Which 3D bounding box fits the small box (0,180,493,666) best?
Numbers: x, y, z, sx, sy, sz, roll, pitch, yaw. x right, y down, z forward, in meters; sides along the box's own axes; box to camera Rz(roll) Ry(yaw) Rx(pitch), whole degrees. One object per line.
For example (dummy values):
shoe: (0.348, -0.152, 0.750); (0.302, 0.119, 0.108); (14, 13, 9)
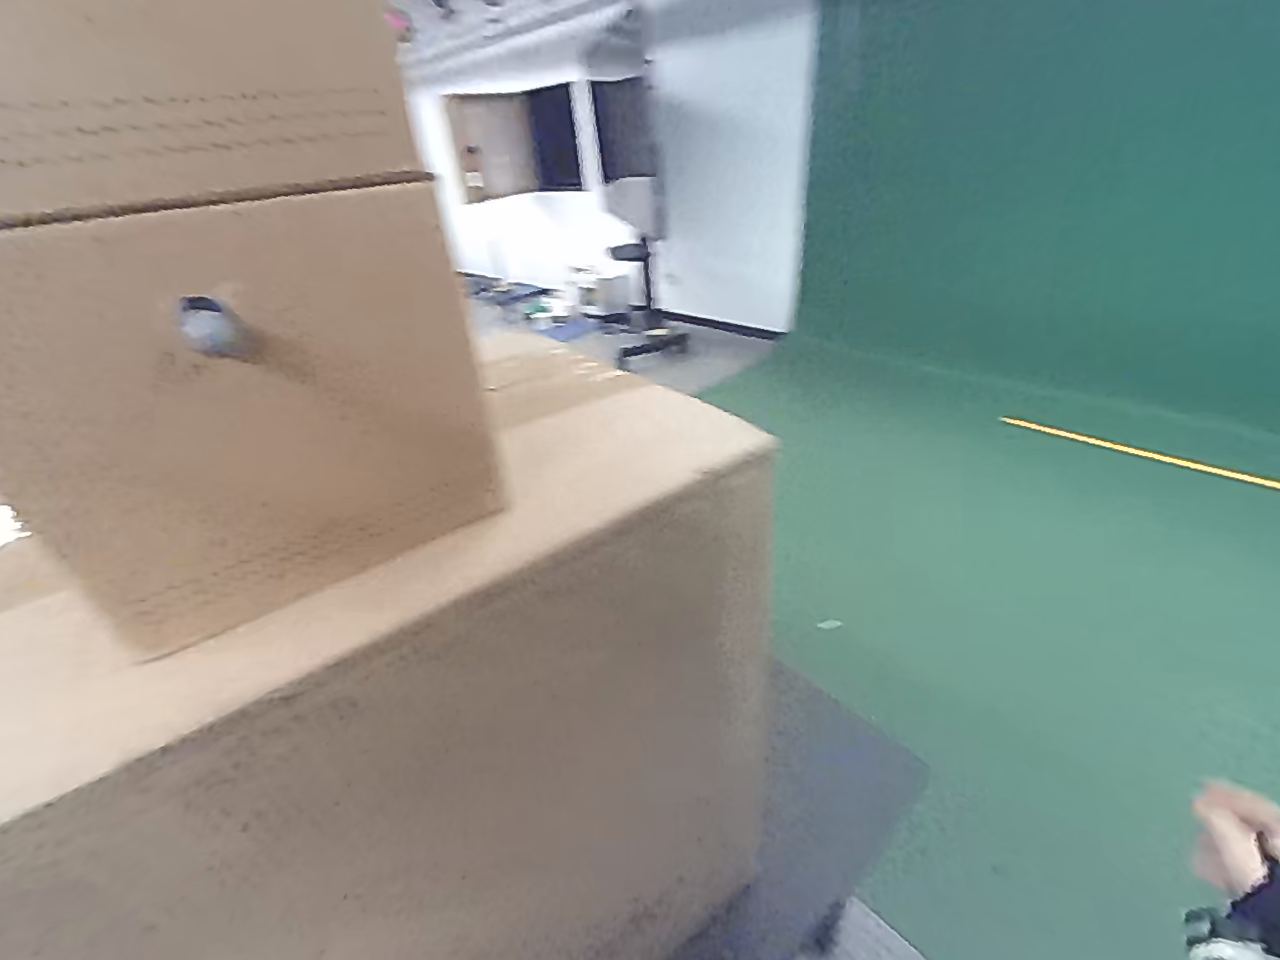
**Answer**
small box: (-0.191, -0.046, 0.280); (0.179, 0.176, 0.168); (-25, 40, -27)
